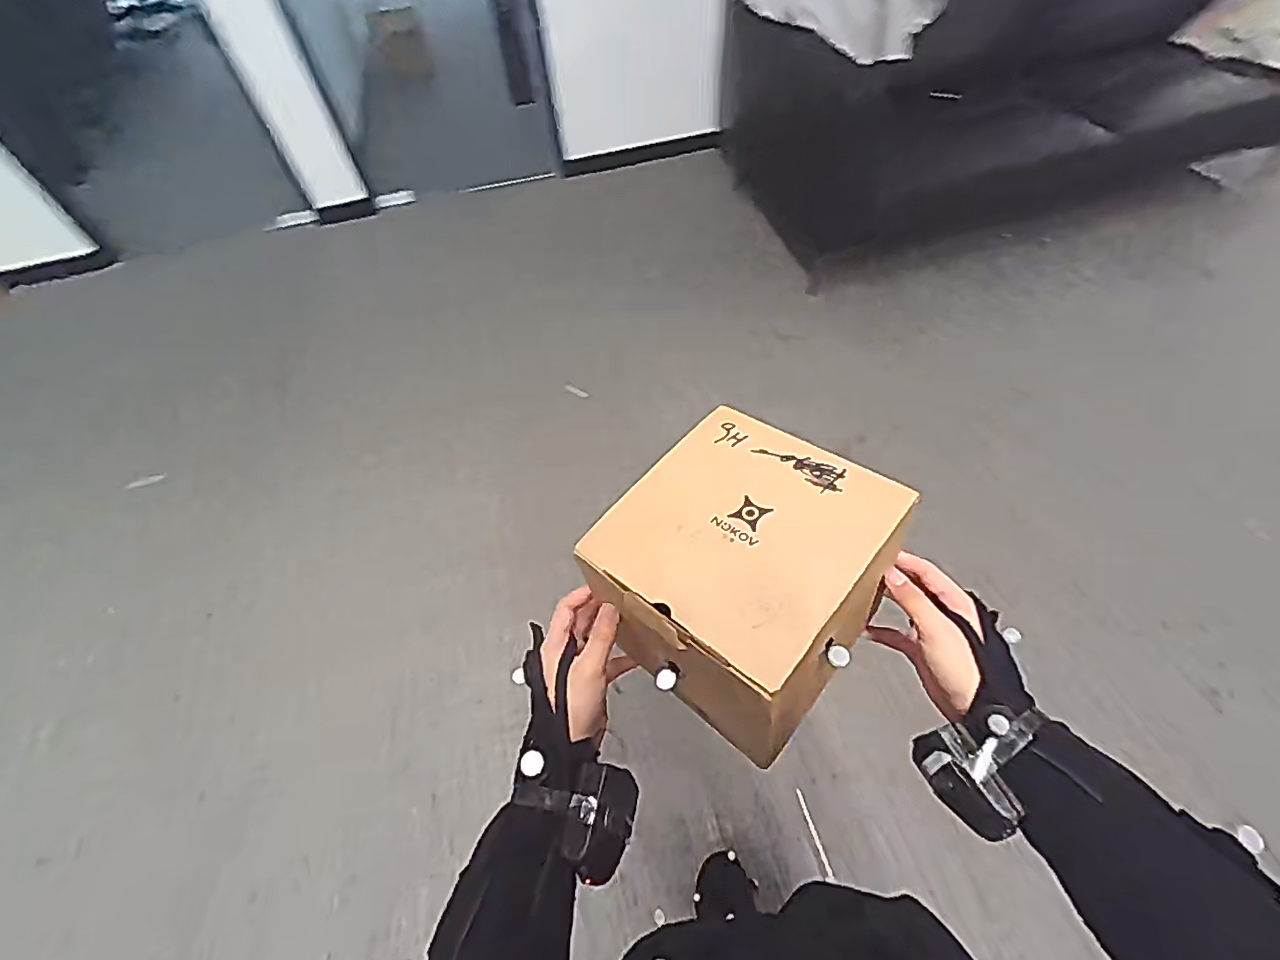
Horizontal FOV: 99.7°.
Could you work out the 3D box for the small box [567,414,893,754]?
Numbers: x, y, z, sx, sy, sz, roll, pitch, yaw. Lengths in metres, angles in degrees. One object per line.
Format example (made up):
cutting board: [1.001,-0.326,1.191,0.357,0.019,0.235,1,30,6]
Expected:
small box: [0.075,0.085,0.438,0.168,0.176,0.179,30,62,31]
